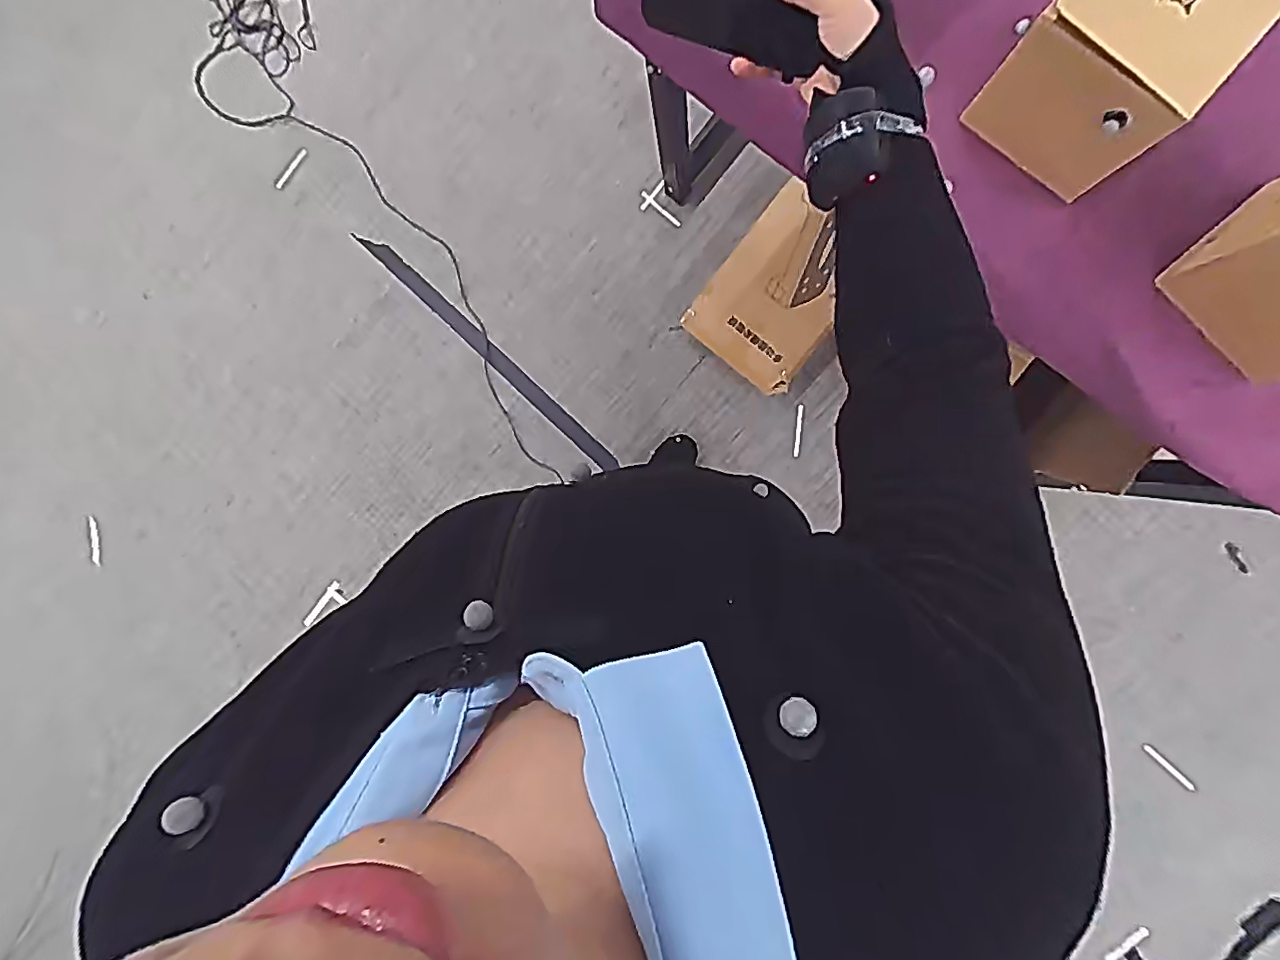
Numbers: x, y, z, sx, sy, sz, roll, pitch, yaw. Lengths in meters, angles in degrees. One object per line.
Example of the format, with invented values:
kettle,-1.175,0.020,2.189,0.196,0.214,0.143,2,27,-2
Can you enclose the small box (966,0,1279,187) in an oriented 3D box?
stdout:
small box,0.512,-0.459,0.589,0.179,0.176,0.168,40,94,3

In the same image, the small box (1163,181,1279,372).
small box,0.740,-0.237,0.575,0.168,0.176,0.179,-43,88,7
